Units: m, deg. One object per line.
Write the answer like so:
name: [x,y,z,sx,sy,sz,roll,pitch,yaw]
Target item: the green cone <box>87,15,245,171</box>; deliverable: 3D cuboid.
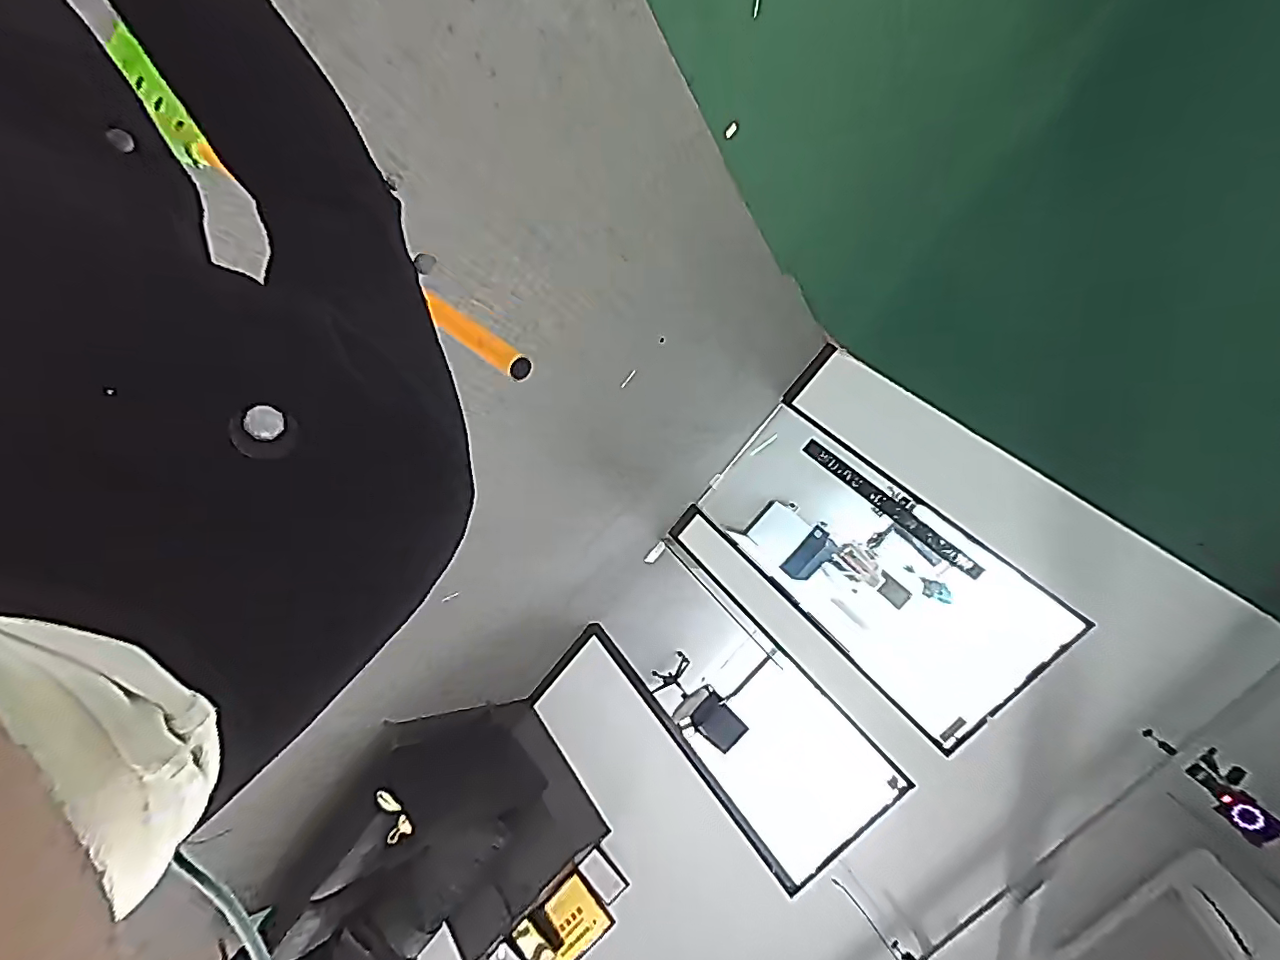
green cone: [-0.832,-0.652,0.987,0.200,0.368,0.202,-51,148,11]
